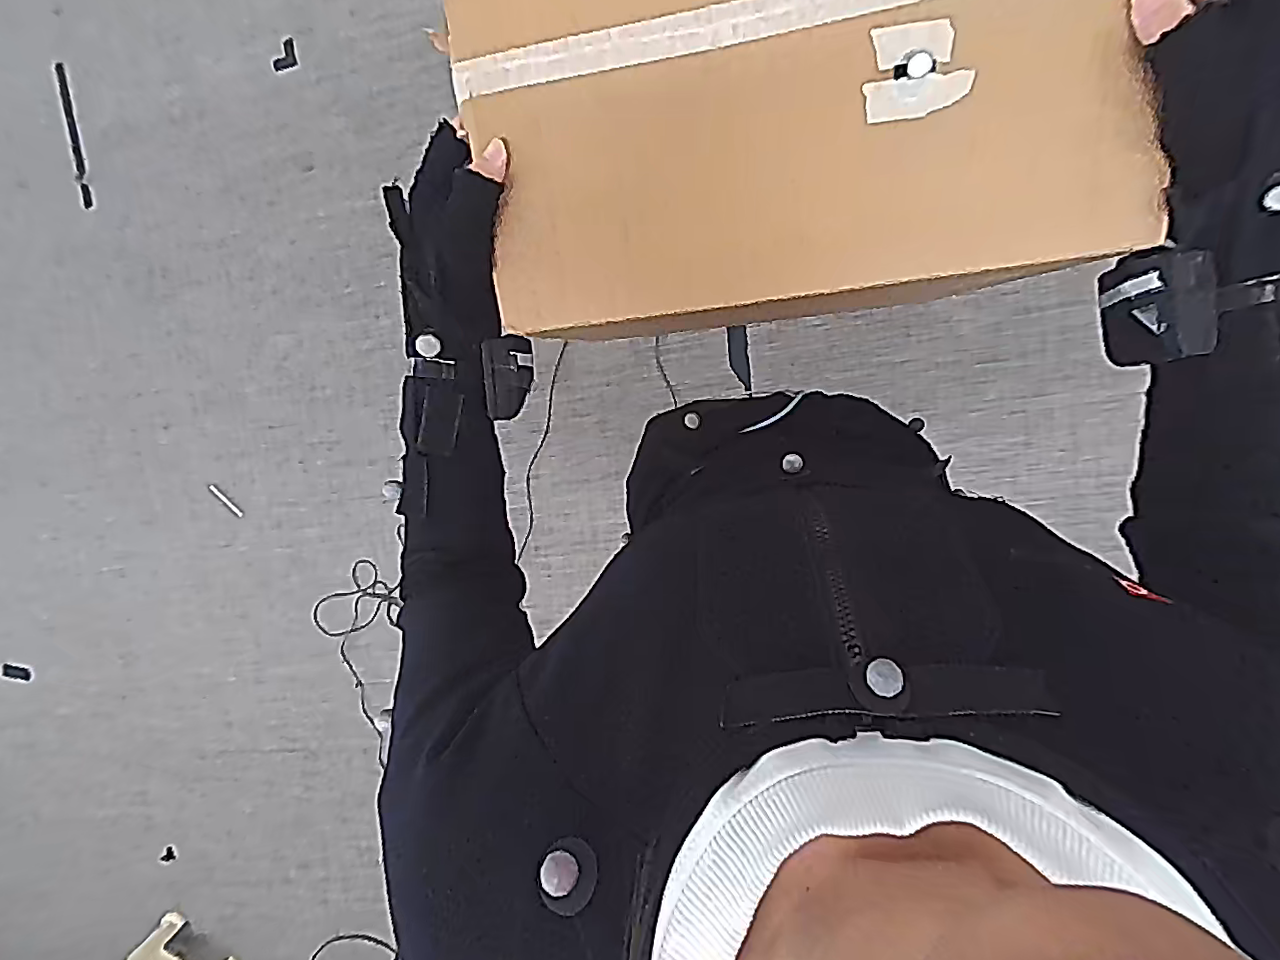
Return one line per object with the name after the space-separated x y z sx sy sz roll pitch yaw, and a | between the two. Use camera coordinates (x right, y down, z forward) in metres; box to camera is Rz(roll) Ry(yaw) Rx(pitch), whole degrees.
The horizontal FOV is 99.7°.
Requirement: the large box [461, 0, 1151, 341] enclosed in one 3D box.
0.103 -0.310 0.470 0.408 0.320 0.320 -6 103 8 | large box
